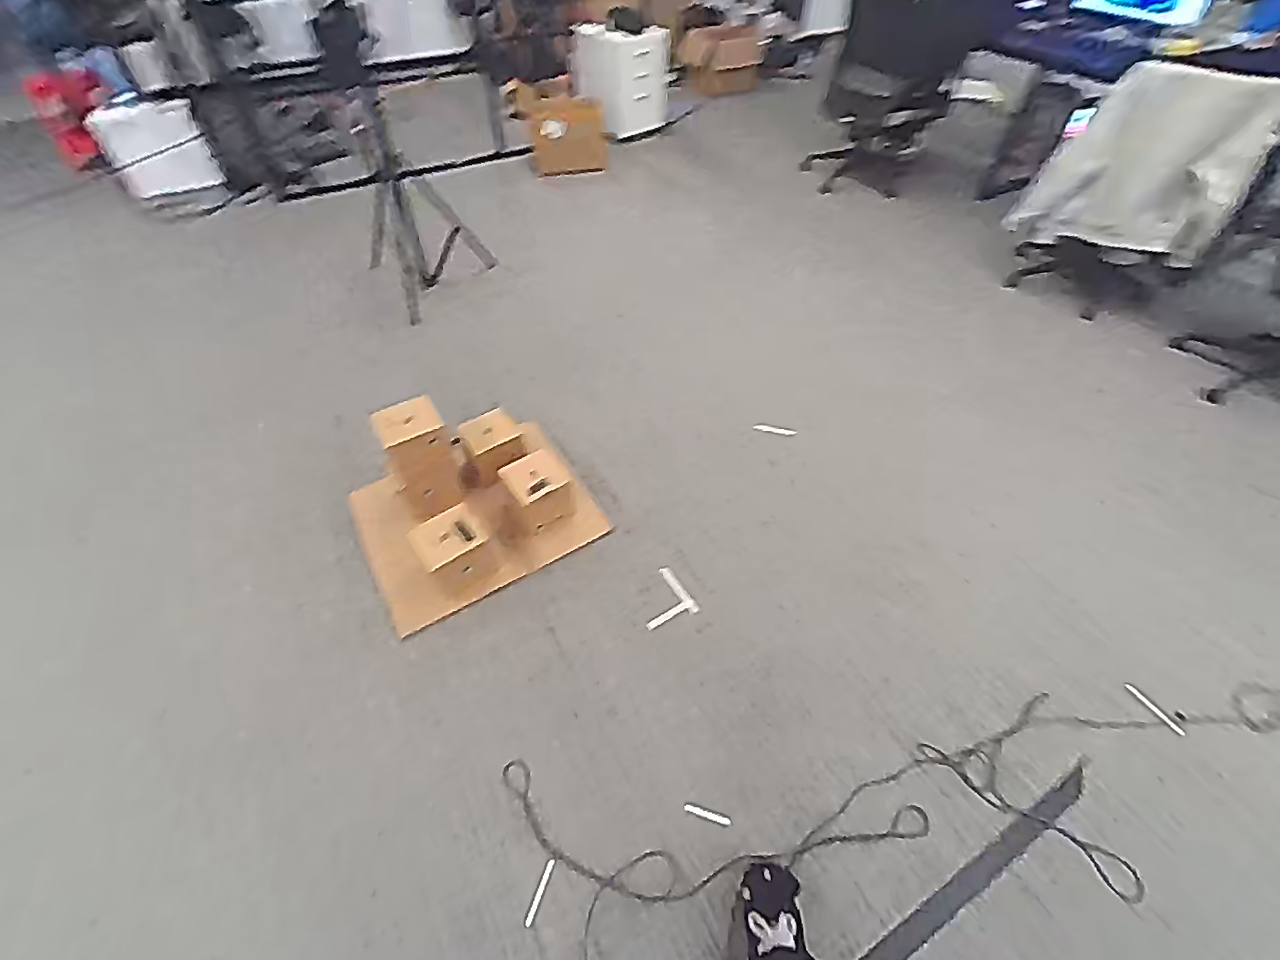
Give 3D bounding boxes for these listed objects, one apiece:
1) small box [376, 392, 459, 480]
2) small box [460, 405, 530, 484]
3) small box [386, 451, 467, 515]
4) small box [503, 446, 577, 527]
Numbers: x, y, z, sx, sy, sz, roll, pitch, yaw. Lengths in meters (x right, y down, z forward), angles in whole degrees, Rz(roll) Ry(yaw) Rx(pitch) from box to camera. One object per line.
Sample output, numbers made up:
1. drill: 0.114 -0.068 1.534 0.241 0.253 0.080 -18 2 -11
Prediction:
1. small box: -0.670 -0.132 1.649 0.179 0.176 0.168 -26 54 -20
2. small box: -0.491 -0.121 1.861 0.179 0.176 0.168 -30 56 -22
3. small box: -0.692 -0.017 1.769 0.179 0.176 0.168 -30 57 -22
4. small box: -0.316 0.029 1.737 0.168 0.176 0.179 -29 56 -22
